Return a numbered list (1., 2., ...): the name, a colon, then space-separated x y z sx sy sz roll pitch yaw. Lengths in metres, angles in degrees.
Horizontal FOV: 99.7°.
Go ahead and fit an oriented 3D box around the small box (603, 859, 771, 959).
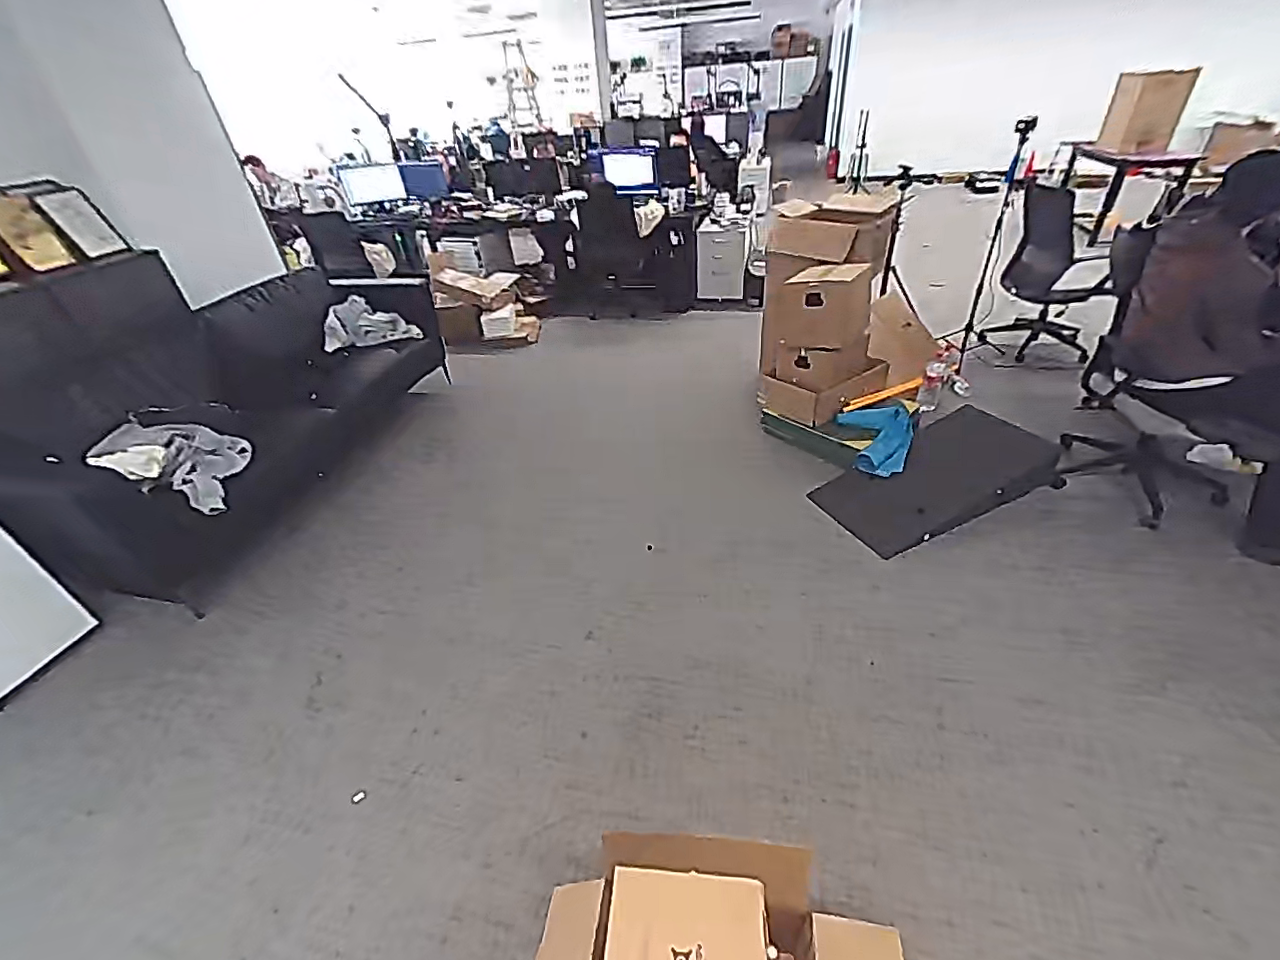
1. small box: 0.056 0.566 0.608 0.179 0.176 0.168 0 33 10
